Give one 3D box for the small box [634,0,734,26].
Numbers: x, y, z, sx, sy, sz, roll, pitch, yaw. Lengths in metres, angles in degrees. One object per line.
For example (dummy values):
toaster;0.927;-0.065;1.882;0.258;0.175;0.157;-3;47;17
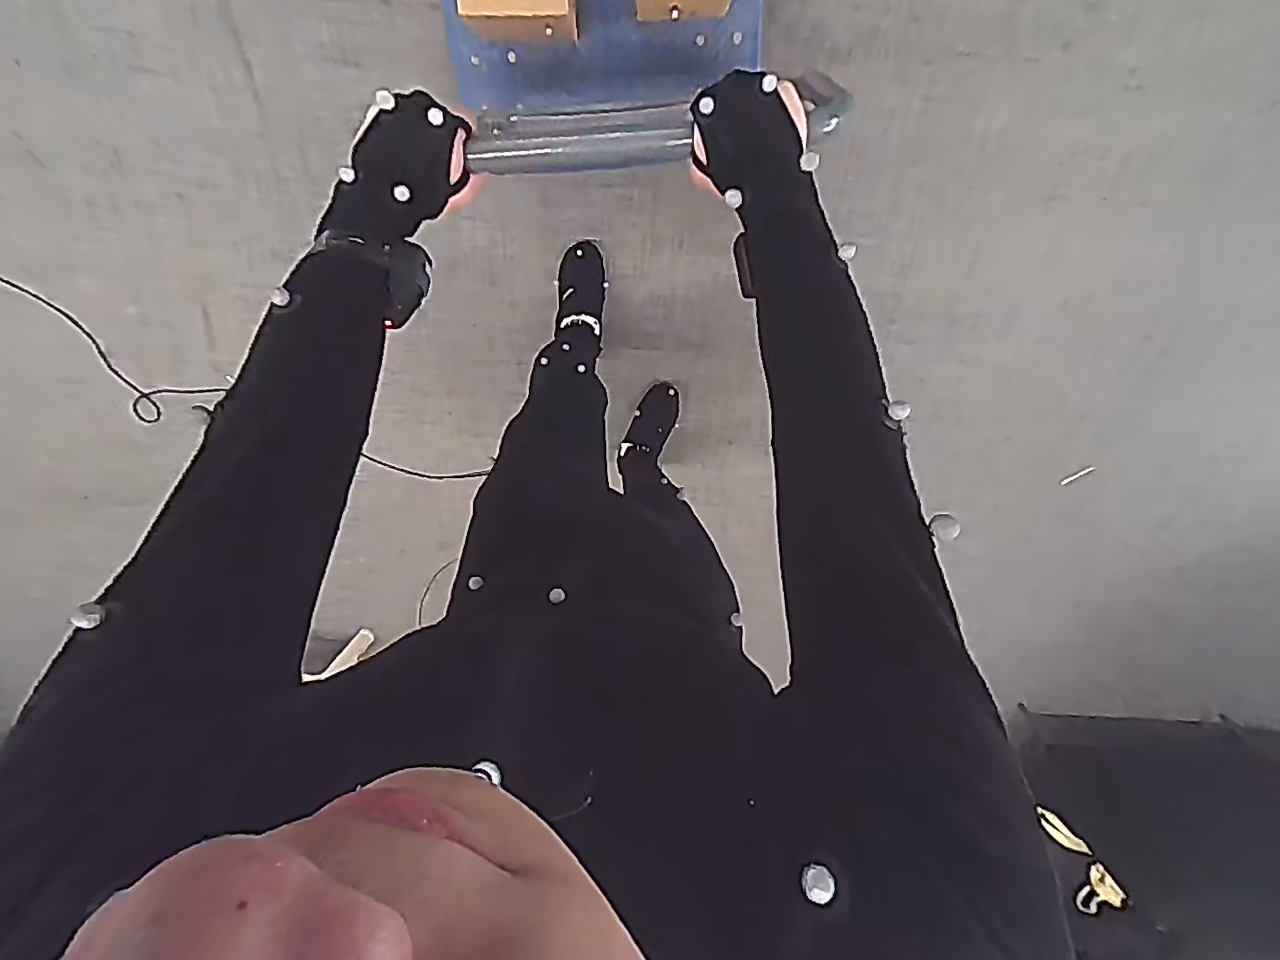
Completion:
small box;0.071;-0.885;0.890;0.168;0.176;0.179;-3;118;1
